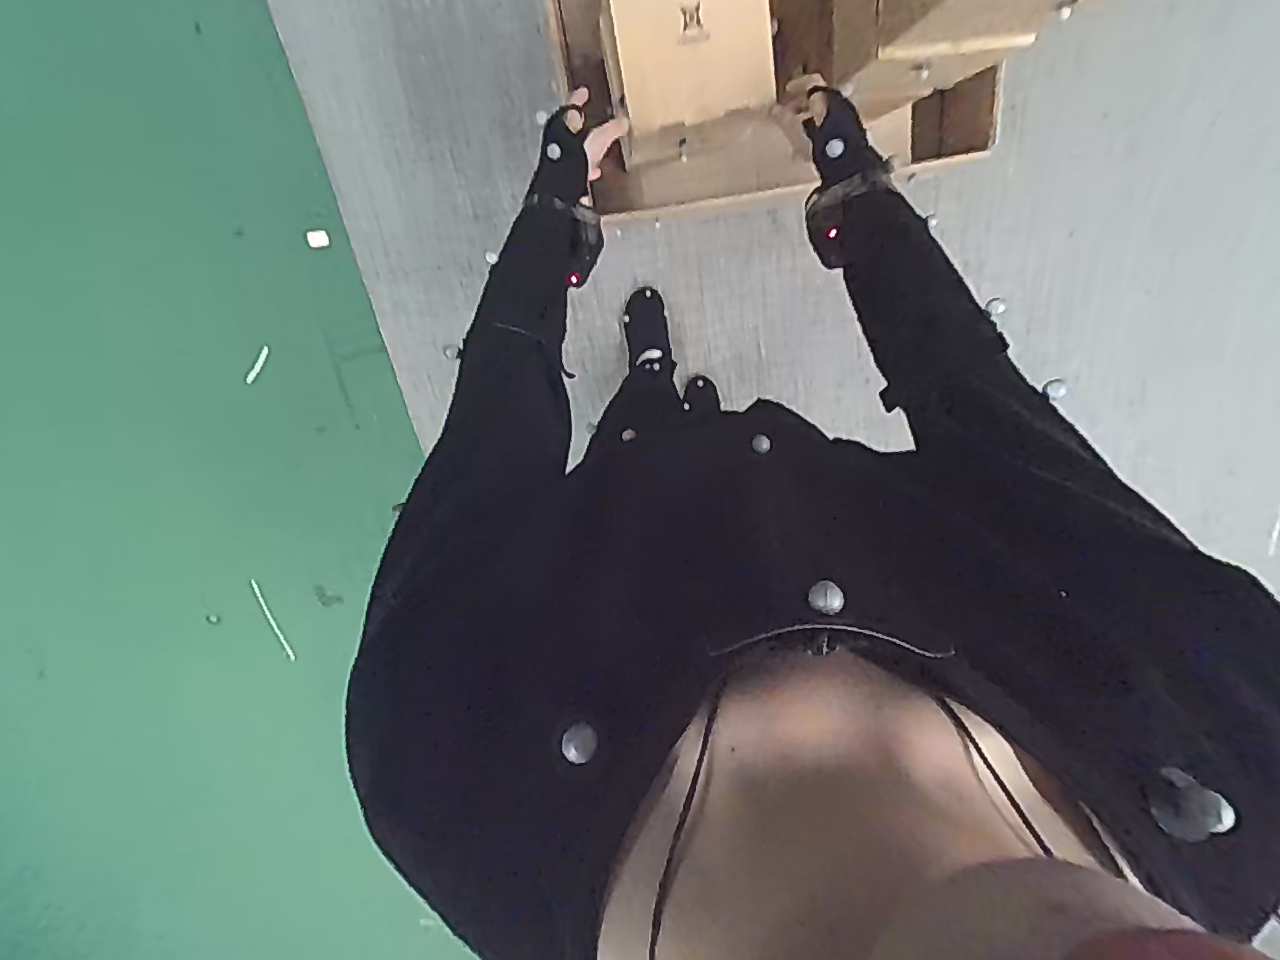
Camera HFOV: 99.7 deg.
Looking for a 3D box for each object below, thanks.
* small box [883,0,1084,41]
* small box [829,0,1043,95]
[{"bbox_3d":[0.336,-0.512,0.463,0.179,0.176,0.168,-6,112,1],"label":"small box"},{"bbox_3d":[0.328,-0.564,0.617,0.179,0.176,0.168,-6,112,0],"label":"small box"}]
